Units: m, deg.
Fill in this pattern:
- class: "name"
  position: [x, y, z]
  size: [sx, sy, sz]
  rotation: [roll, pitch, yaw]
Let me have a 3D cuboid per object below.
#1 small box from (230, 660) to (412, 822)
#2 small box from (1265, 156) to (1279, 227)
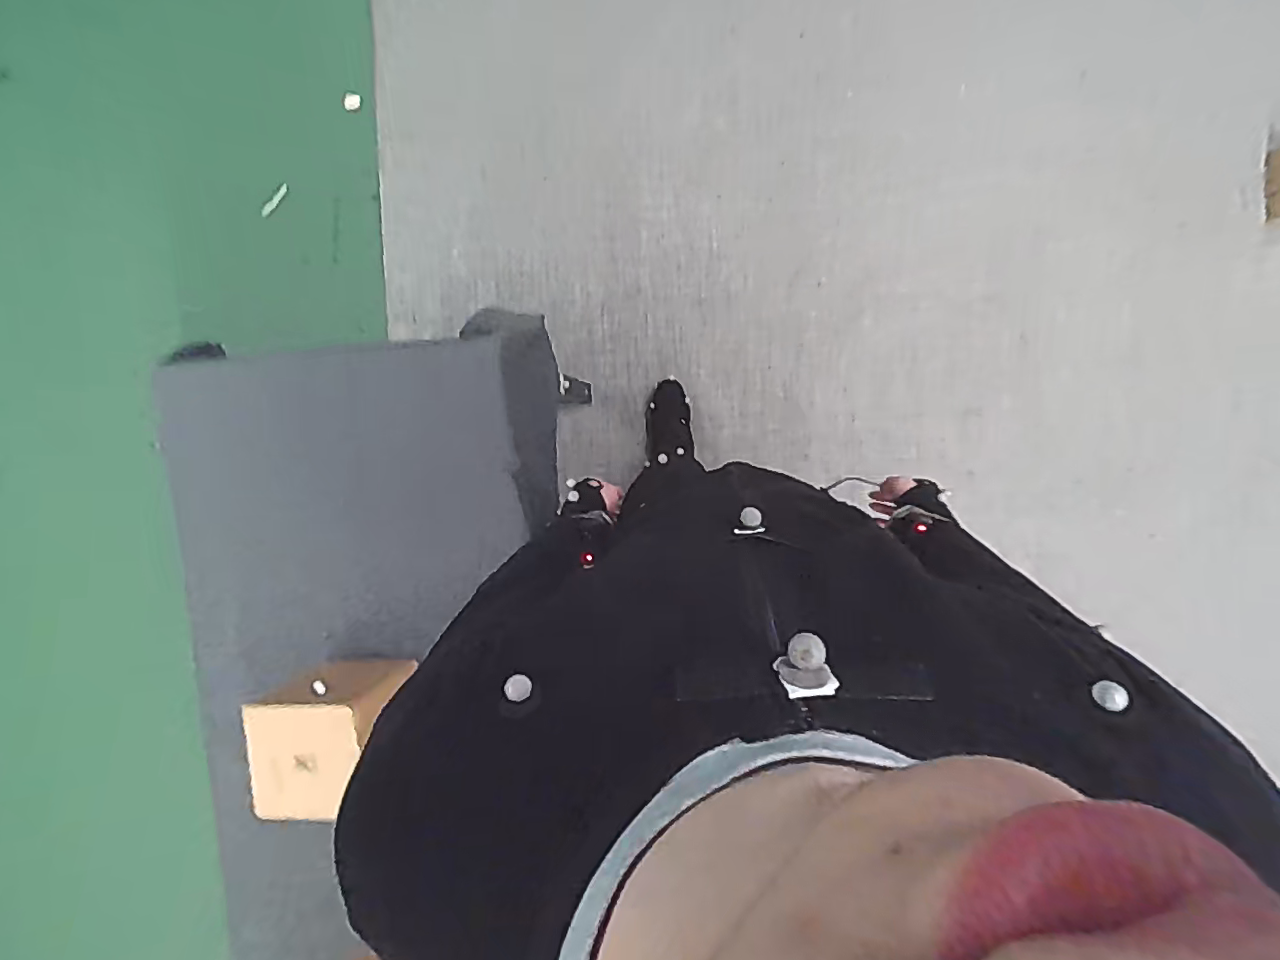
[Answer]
- class: "small box"
  position: [-0.469, 0.384, 0.823]
  size: [0.179, 0.176, 0.168]
  rotation: [-4, 93, 8]
- class: "small box"
  position: [1.576, -0.686, 1.211]
  size: [0.179, 0.176, 0.168]
  rotation: [-3, 94, 8]
